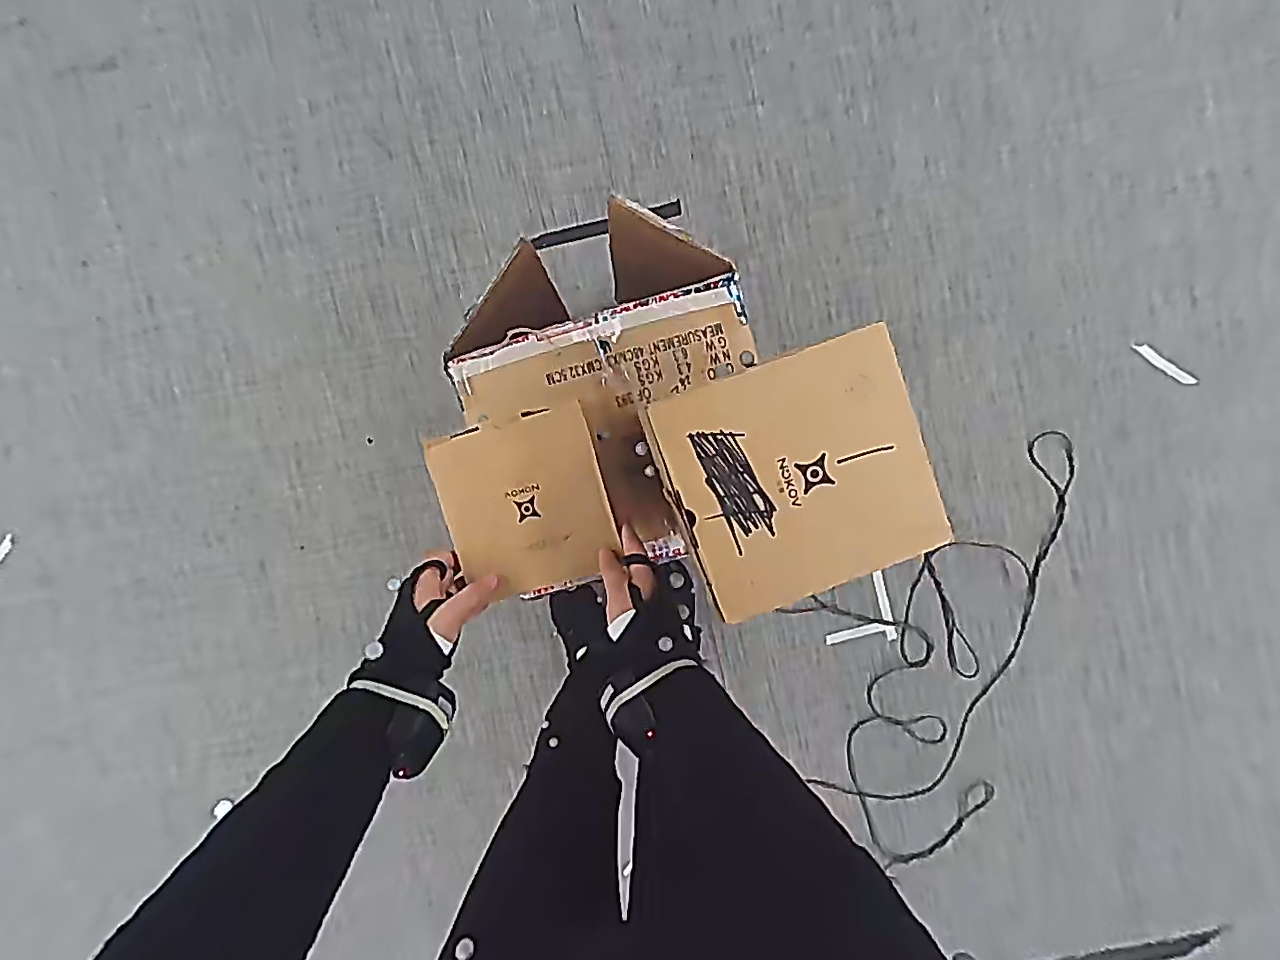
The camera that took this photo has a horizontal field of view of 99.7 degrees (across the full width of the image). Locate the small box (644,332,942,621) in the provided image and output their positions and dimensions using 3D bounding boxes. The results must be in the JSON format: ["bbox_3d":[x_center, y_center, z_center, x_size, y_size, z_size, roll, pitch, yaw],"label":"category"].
[{"bbox_3d":[0.110,-0.007,0.464,0.179,0.176,0.168,-21,96,0],"label":"small box"}]

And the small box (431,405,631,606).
[{"bbox_3d":[-0.111,0.020,0.630,0.168,0.176,0.179,-16,97,2],"label":"small box"}]
